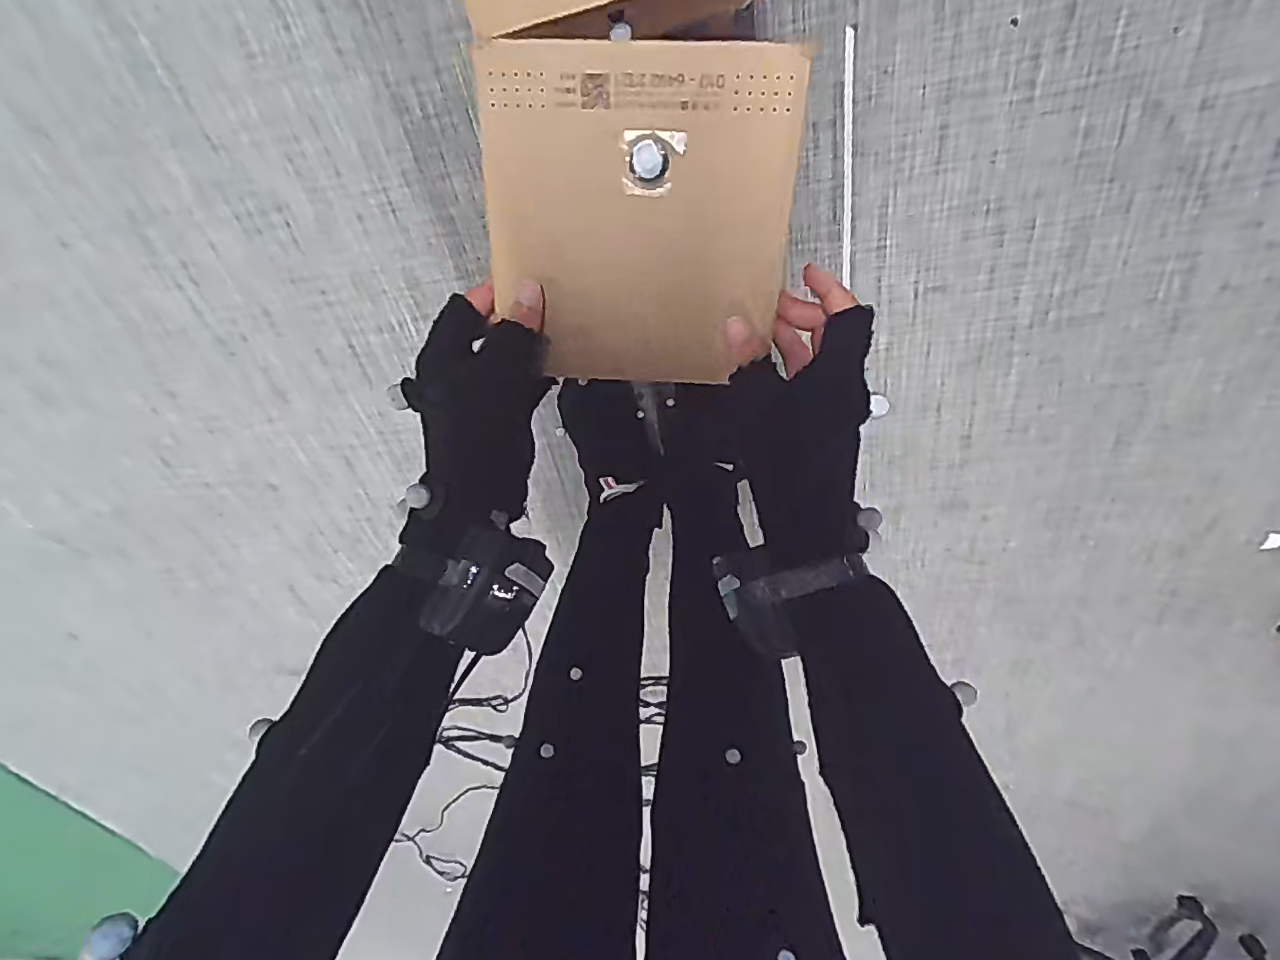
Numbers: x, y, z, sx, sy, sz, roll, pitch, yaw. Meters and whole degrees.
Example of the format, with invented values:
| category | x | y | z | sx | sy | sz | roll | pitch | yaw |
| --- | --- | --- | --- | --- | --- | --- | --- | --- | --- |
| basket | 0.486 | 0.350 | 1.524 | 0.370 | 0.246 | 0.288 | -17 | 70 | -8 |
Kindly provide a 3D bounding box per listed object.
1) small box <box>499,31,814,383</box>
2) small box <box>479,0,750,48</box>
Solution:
| category | x | y | z | sx | sy | sz | roll | pitch | yaw |
| --- | --- | --- | --- | --- | --- | --- | --- | --- | --- |
| small box | 0.010 | -0.175 | 0.371 | 0.168 | 0.179 | 0.176 | 3 | 116 | 3 |
| small box | -0.013 | -0.375 | 0.321 | 0.179 | 0.176 | 0.168 | -7 | 123 | 11 |
